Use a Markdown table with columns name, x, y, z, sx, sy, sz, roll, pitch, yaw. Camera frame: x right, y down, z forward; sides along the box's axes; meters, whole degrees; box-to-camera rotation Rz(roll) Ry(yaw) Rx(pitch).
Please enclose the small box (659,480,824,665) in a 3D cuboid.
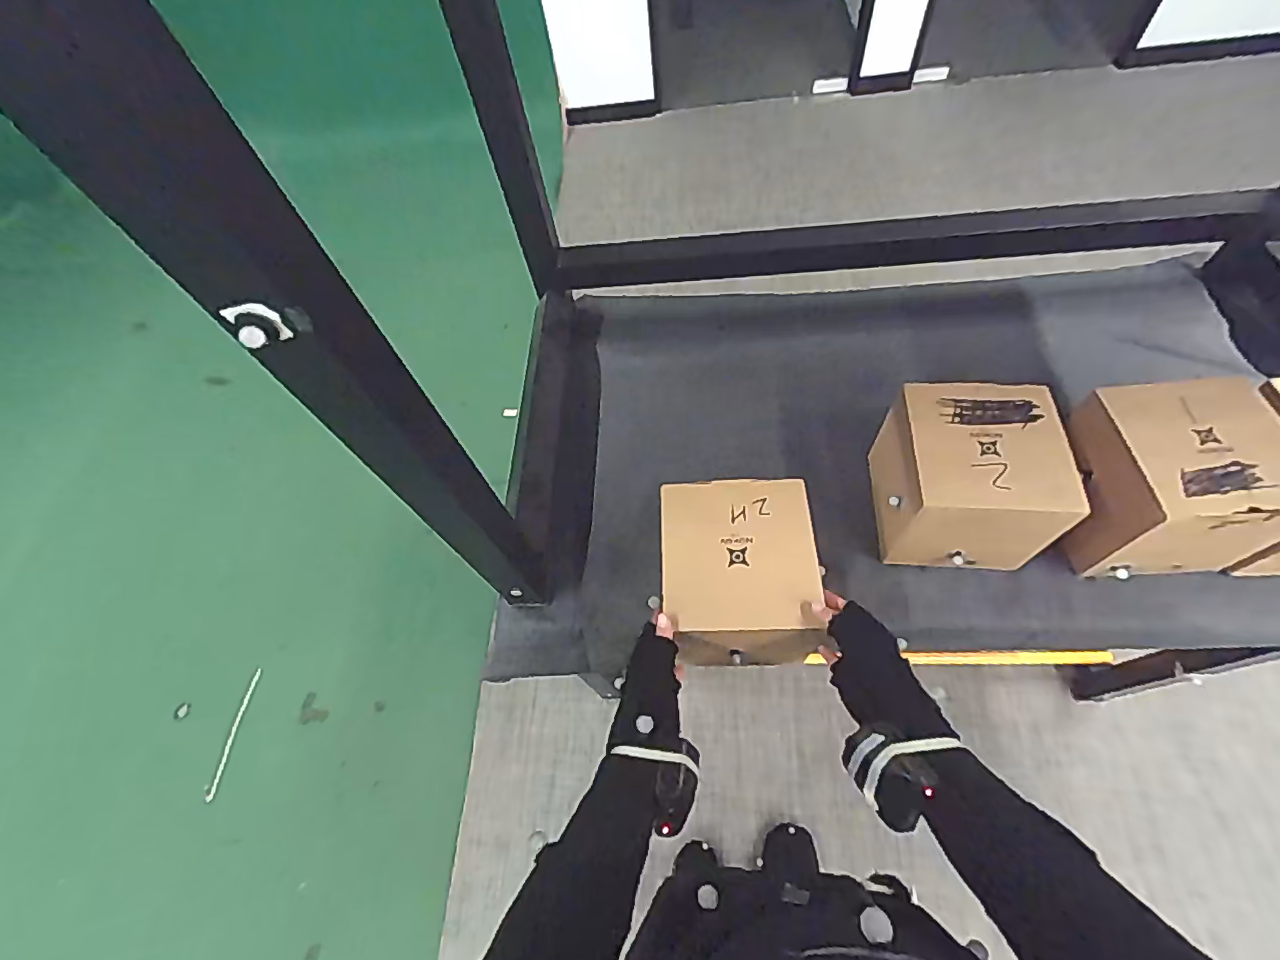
| name | x | y | z | sx | sy | sz | roll | pitch | yaw |
| --- | --- | --- | --- | --- | --- | --- | --- | --- | --- |
| small box | 0.111 | 0.119 | 0.647 | 0.168 | 0.176 | 0.179 | -3 | 58 | 5 |
